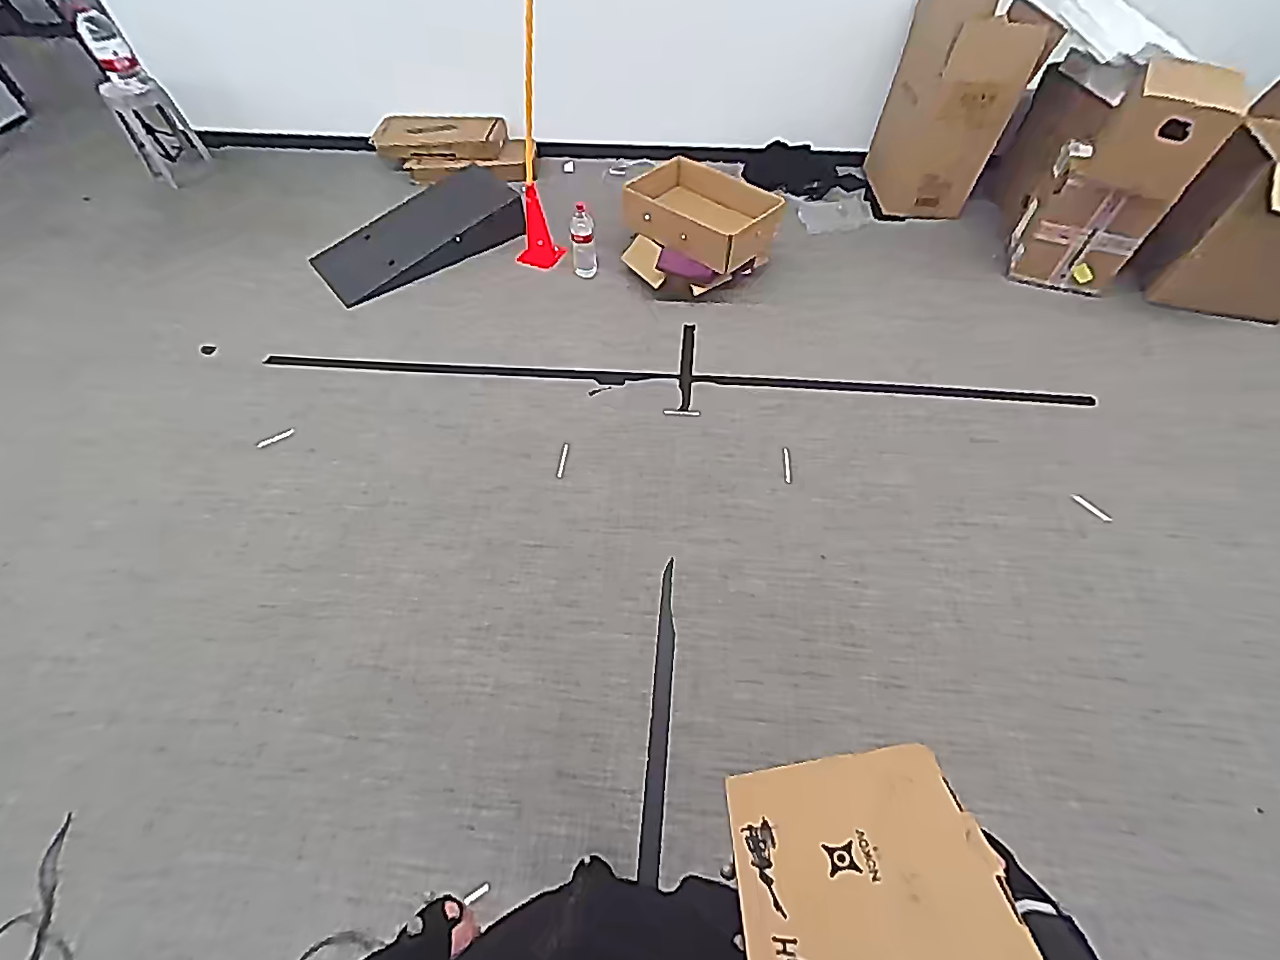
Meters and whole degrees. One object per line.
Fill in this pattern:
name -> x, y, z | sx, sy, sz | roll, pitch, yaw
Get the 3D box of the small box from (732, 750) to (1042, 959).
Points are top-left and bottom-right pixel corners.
small box -> 0.183, 0.354, 0.430 | 0.179, 0.176, 0.168 | -14, 21, 8
